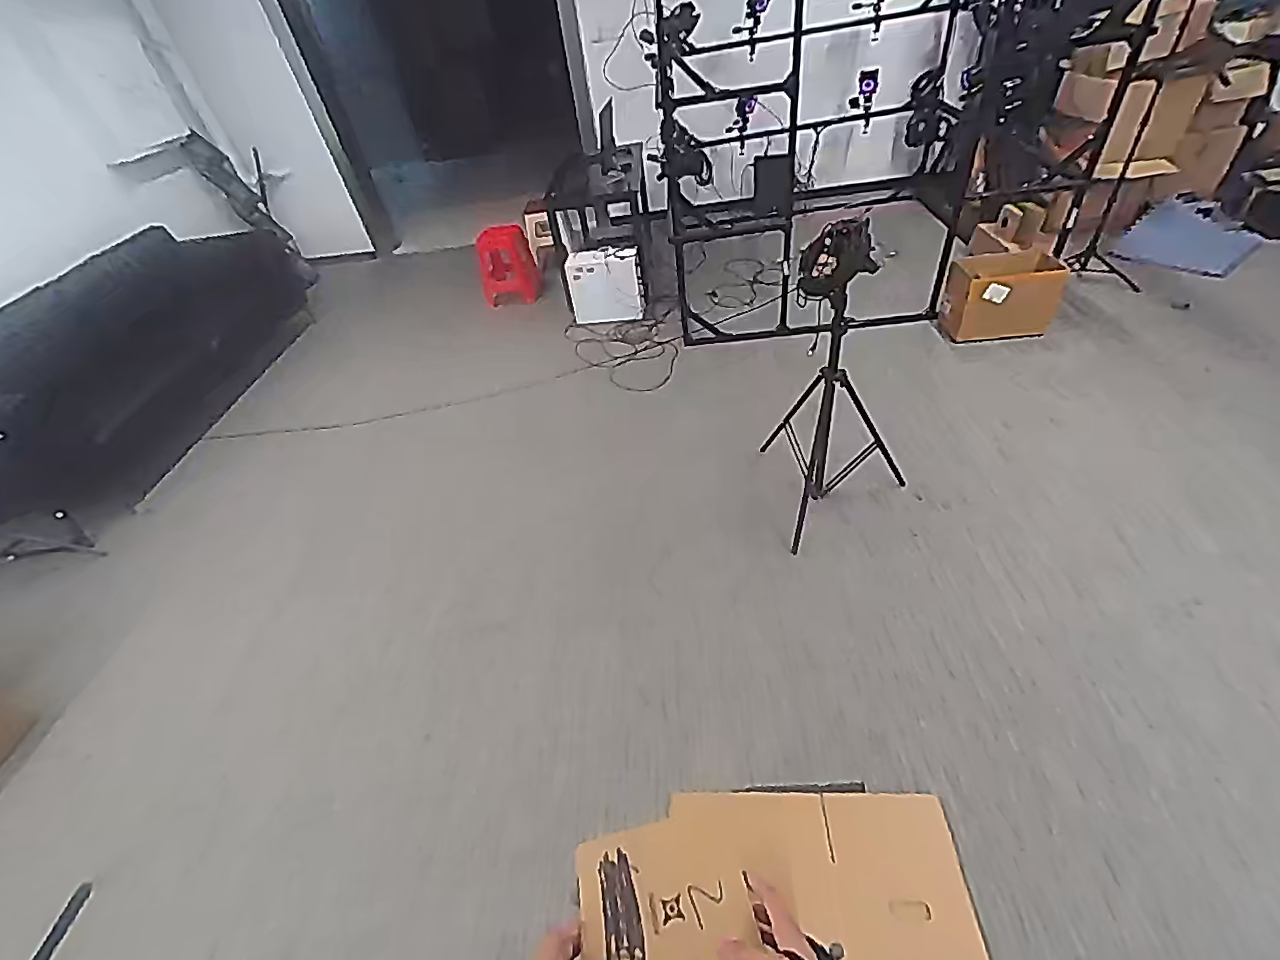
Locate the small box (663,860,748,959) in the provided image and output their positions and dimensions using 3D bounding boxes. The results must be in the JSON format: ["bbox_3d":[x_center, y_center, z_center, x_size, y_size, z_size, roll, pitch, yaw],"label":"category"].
[{"bbox_3d":[0.148,0.979,1.221,0.179,0.176,0.168,-4,43,8],"label":"small box"}]
